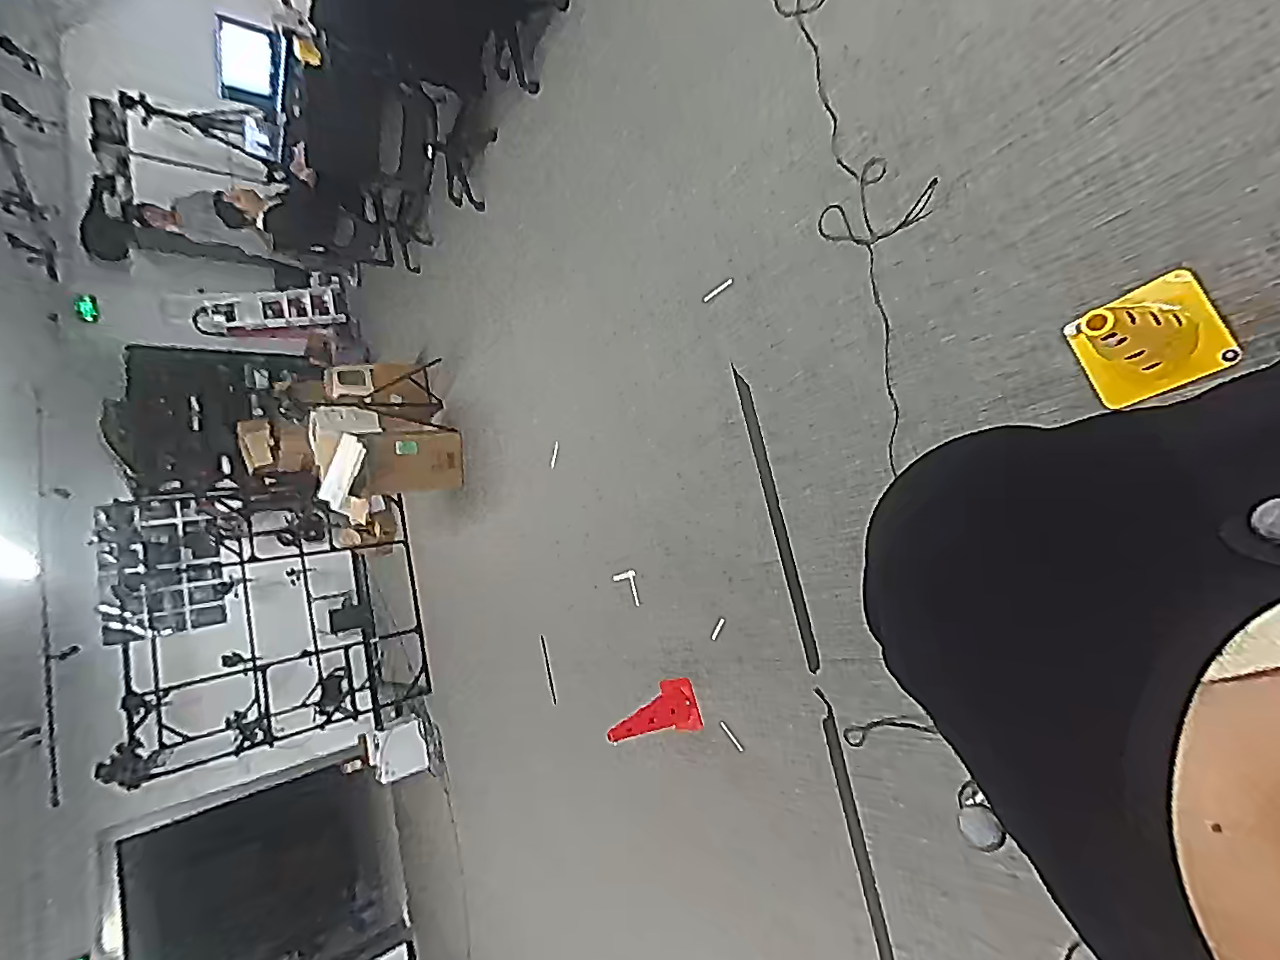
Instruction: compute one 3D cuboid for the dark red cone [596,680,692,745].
[{"bbox_3d":[0.002,0.923,2.065,0.201,0.394,0.202,-34,68,47],"label":"dark red cone"}]
